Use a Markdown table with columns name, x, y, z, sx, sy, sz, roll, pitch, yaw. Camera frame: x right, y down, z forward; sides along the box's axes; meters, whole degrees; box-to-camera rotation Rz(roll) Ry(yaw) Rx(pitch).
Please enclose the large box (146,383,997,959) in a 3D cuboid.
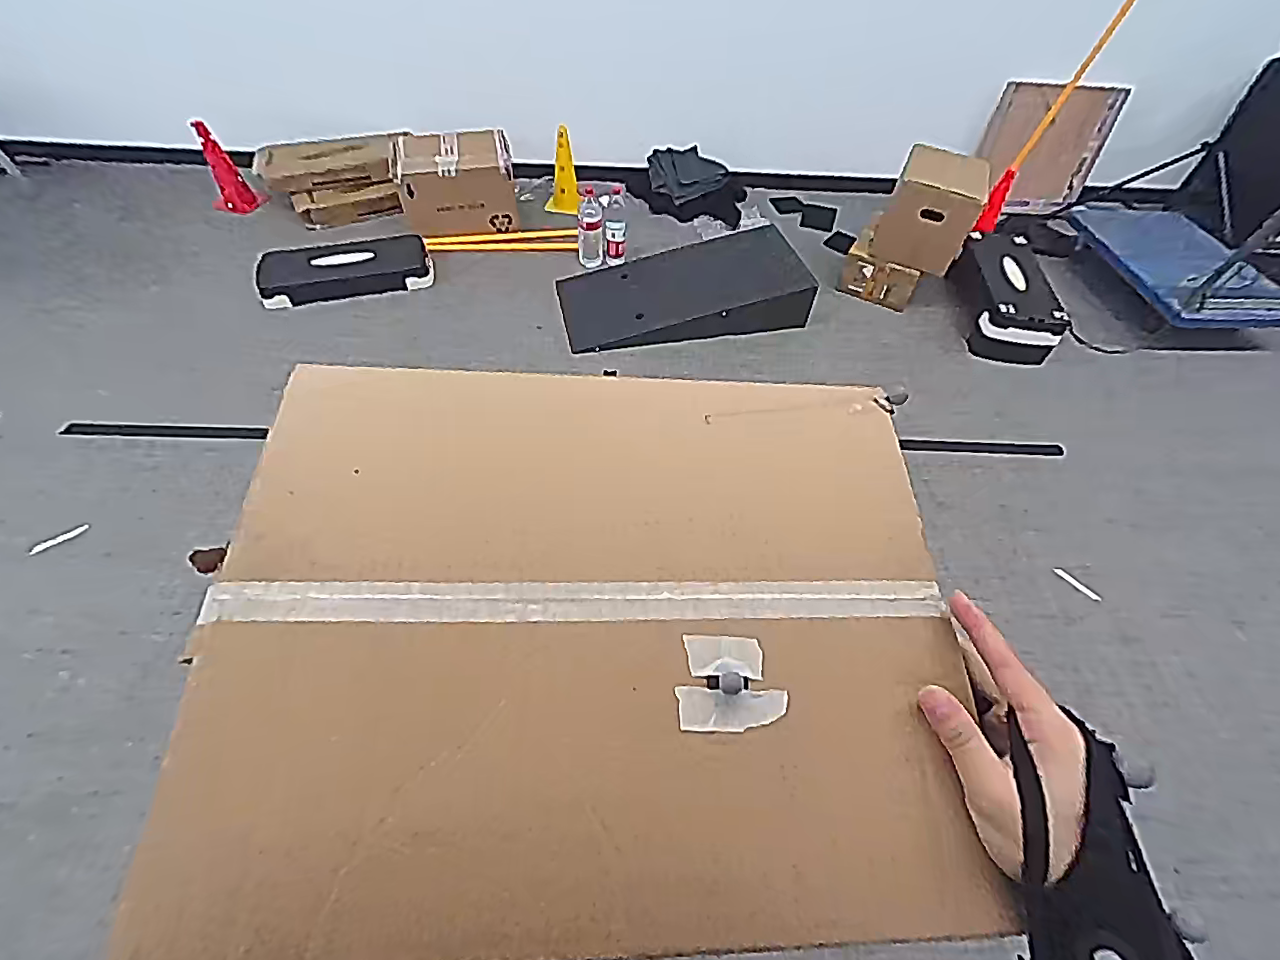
| name | x | y | z | sx | sy | sz | roll | pitch | yaw |
| --- | --- | --- | --- | --- | --- | --- | --- | --- | --- |
| large box | -0.037 | 0.140 | 0.448 | 0.408 | 0.320 | 0.320 | 2 | 64 | -6 |
